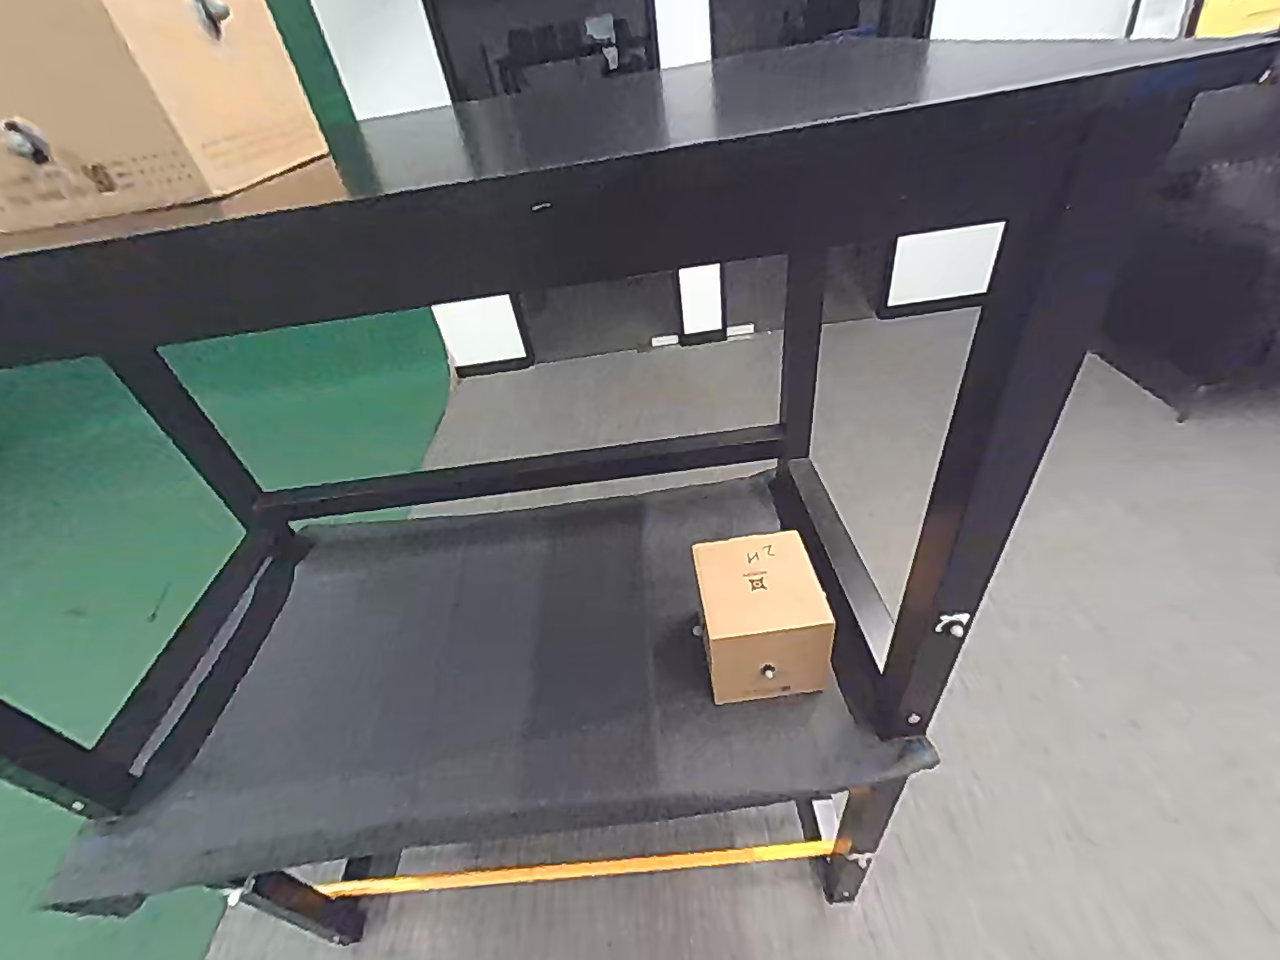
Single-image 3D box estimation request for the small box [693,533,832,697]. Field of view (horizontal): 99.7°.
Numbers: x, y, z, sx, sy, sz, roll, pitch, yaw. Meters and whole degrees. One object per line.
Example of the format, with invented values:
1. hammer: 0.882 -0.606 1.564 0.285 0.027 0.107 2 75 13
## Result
1. small box: 0.178 0.208 0.817 0.168 0.176 0.179 -8 38 2
